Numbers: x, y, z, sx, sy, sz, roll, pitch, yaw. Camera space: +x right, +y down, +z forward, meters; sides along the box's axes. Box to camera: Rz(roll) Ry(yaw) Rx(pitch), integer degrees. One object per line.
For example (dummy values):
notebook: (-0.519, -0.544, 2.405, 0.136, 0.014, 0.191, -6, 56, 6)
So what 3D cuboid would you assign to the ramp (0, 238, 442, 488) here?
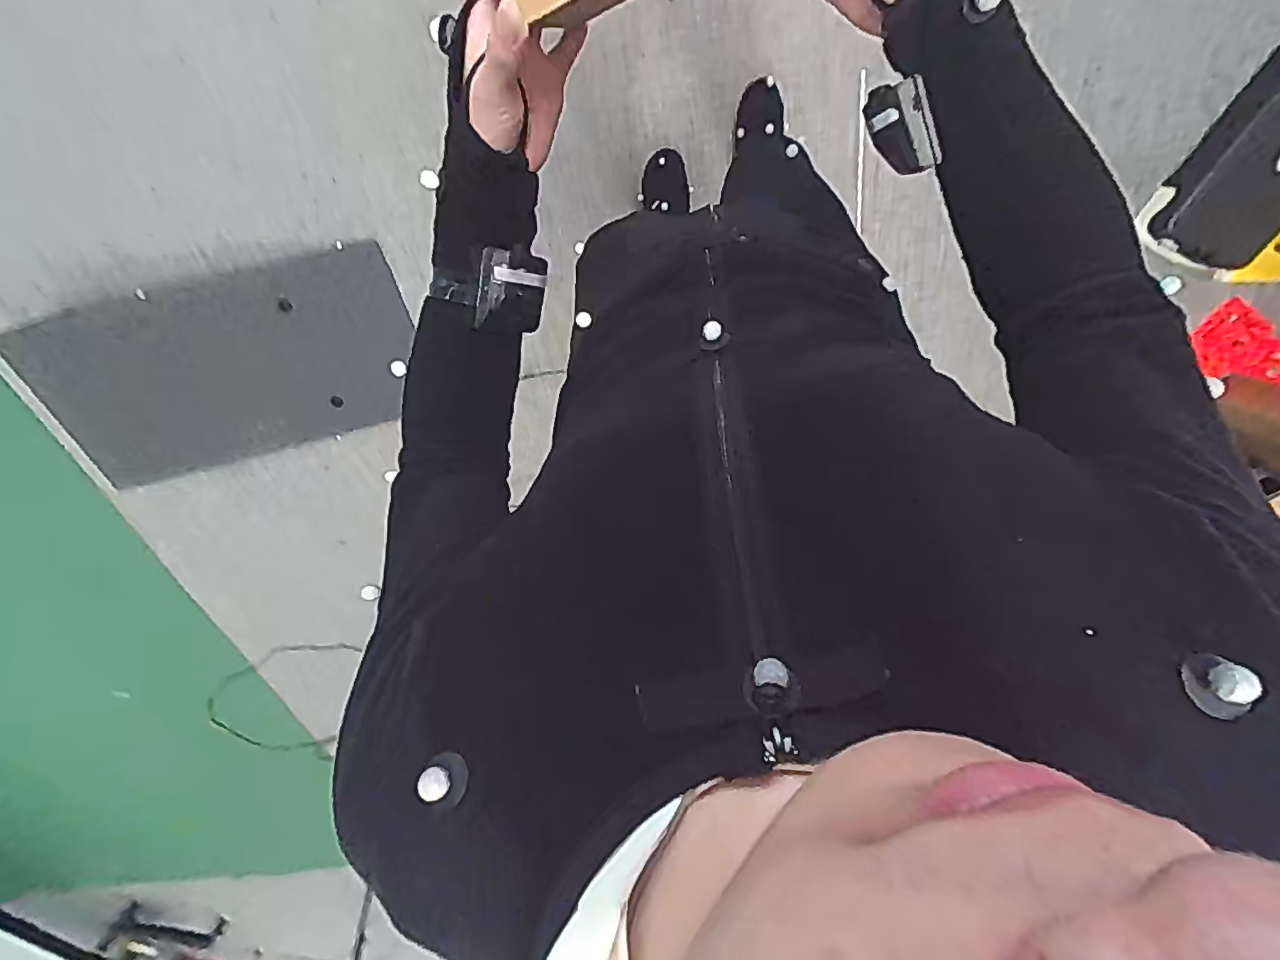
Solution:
ramp: (-1.127, -0.309, 1.508, 0.991, 0.206, 0.509, -11, 120, 7)
